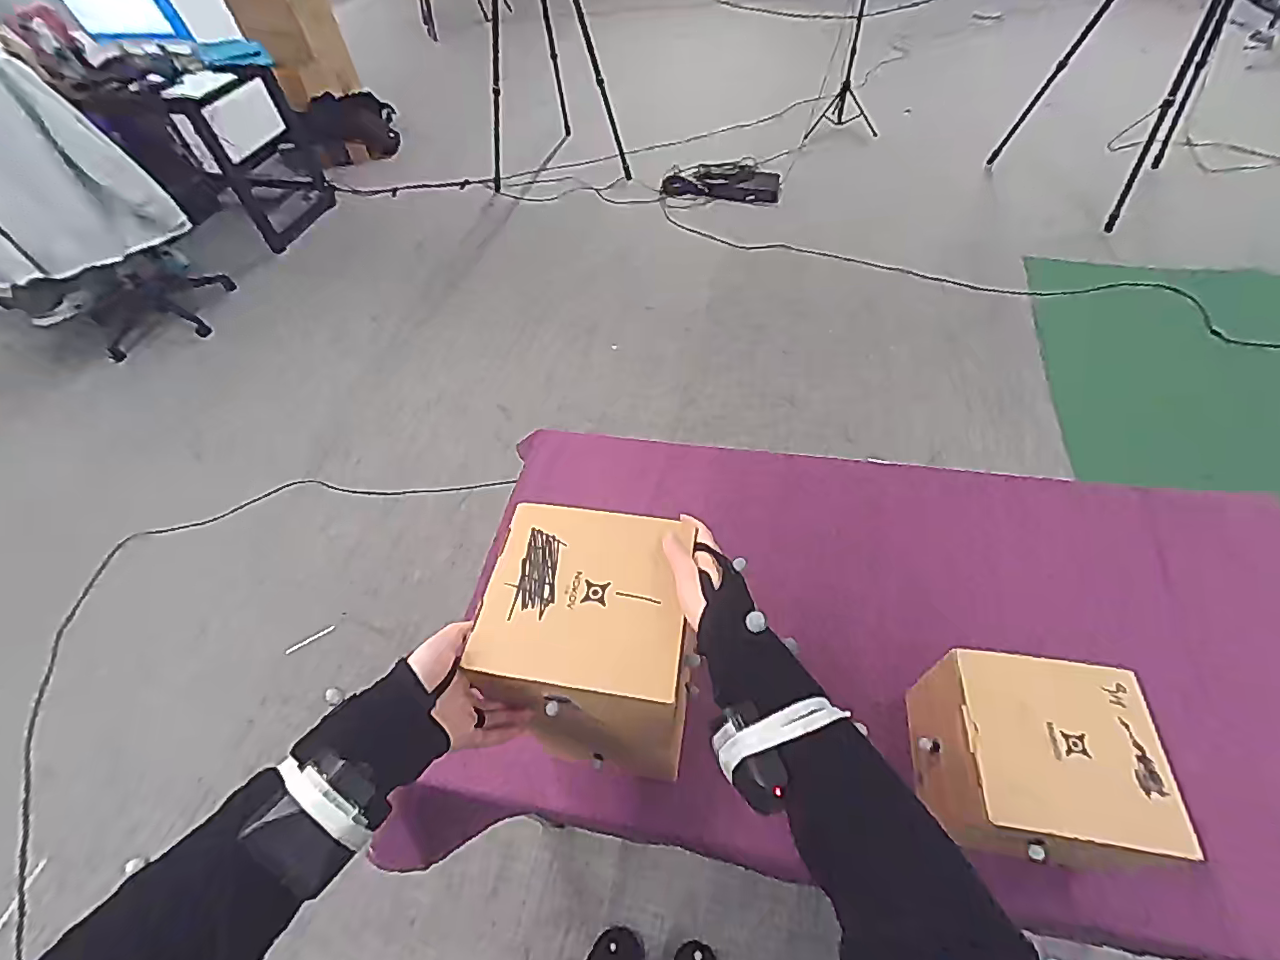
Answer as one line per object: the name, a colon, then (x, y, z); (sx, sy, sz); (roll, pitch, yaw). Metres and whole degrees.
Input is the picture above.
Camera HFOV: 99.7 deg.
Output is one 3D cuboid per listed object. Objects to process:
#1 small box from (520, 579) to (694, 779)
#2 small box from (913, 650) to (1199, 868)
small box: (-0.026, 0.247, 0.662); (0.168, 0.176, 0.179); (7, 53, 9)
small box: (0.411, 0.302, 0.581); (0.179, 0.176, 0.168); (5, 53, 10)
